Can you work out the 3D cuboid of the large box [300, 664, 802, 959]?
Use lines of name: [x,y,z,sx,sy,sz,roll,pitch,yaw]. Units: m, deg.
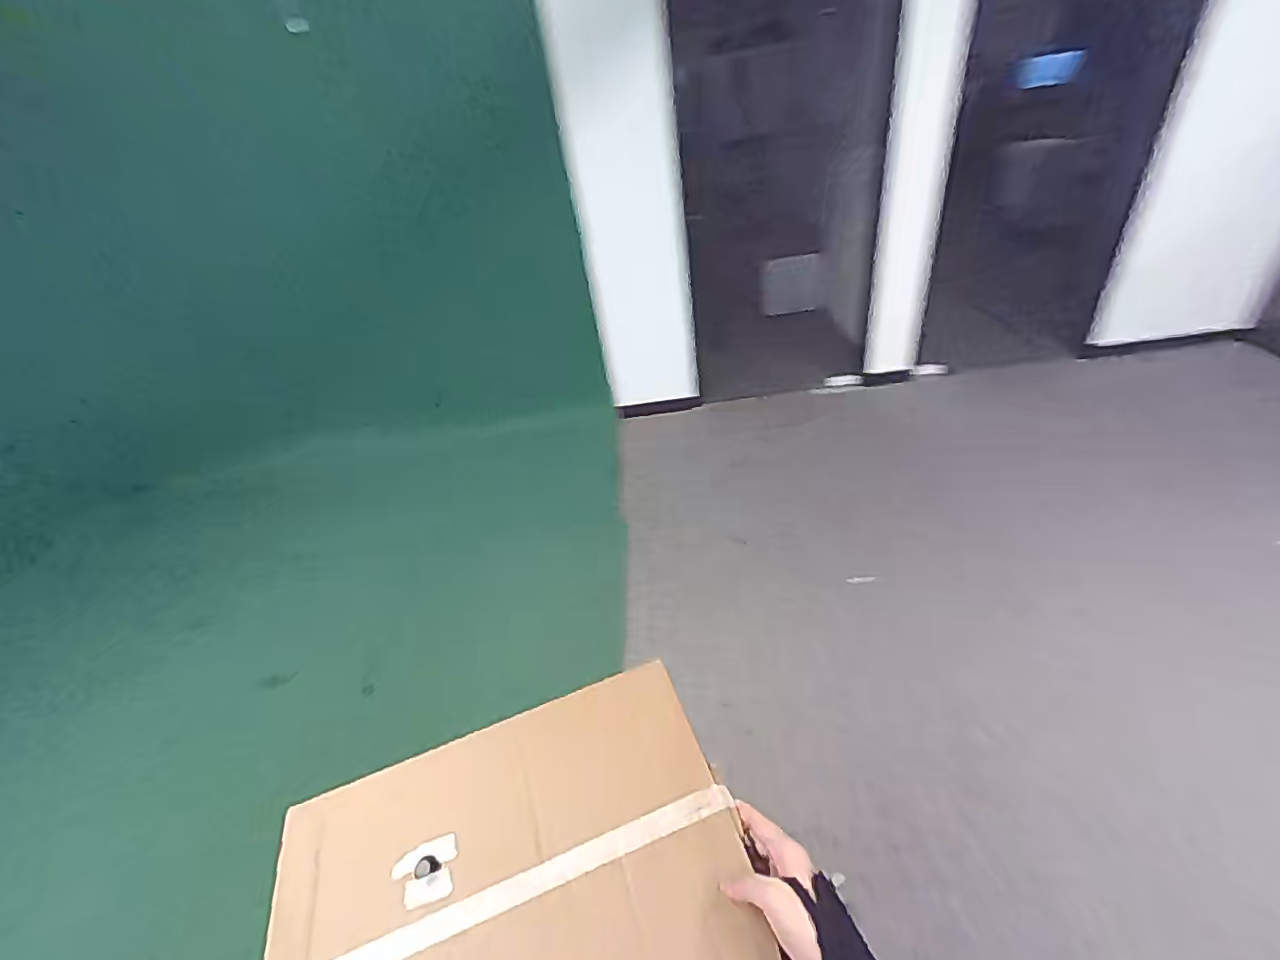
large box: [-0.074,0.470,0.573,0.408,0.320,0.320,-20,42,-7]
